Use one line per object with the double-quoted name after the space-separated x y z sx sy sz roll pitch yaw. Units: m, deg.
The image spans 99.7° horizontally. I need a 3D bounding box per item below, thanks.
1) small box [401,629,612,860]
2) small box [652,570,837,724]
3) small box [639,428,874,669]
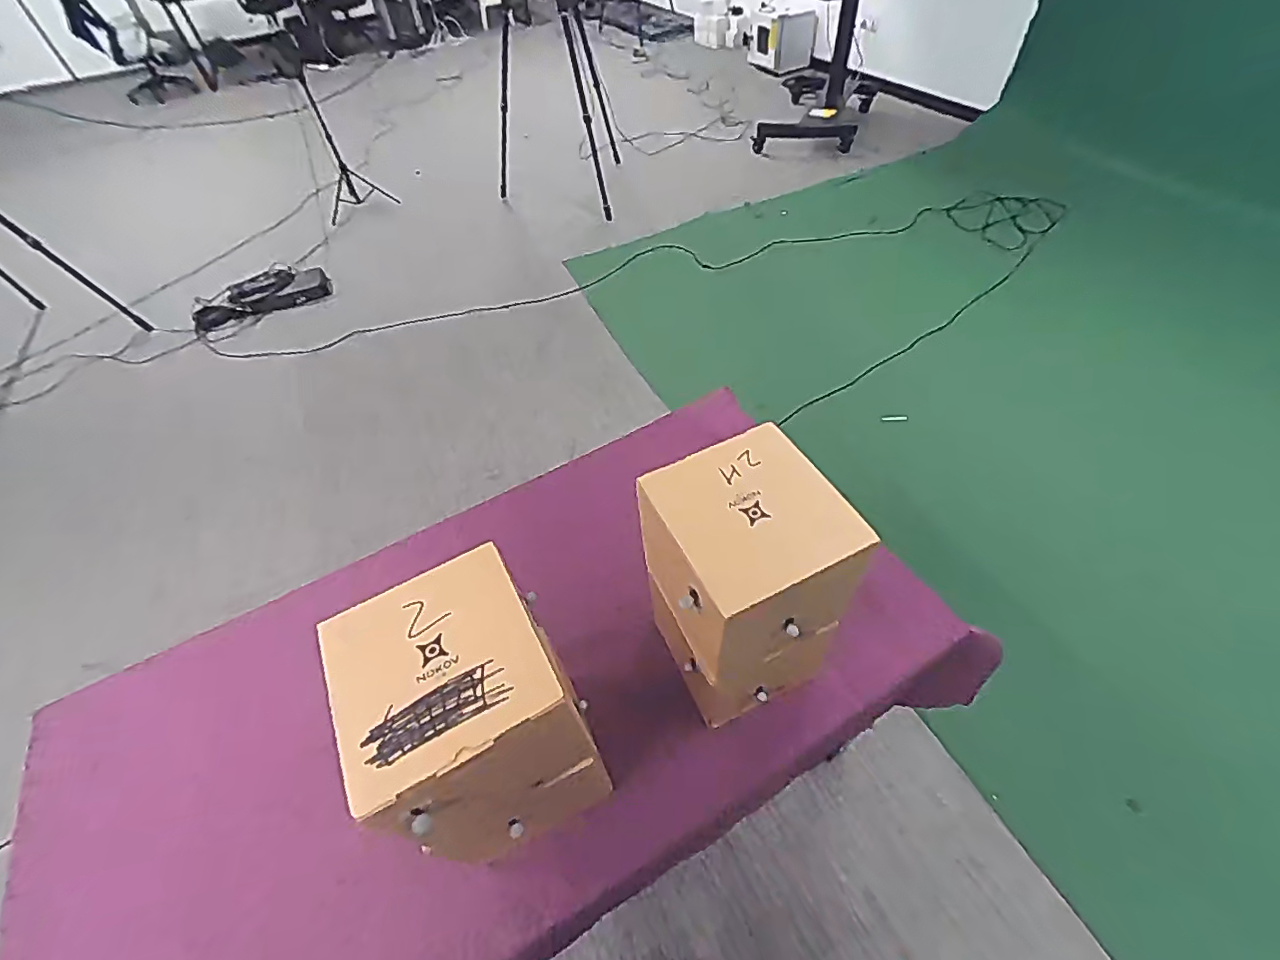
-0.149 0.313 0.634 0.179 0.176 0.168 -23 52 -12 "small box"
0.124 0.187 0.713 0.168 0.176 0.179 -22 52 -12 "small box"
0.113 0.081 0.587 0.168 0.176 0.179 -22 52 -13 "small box"
